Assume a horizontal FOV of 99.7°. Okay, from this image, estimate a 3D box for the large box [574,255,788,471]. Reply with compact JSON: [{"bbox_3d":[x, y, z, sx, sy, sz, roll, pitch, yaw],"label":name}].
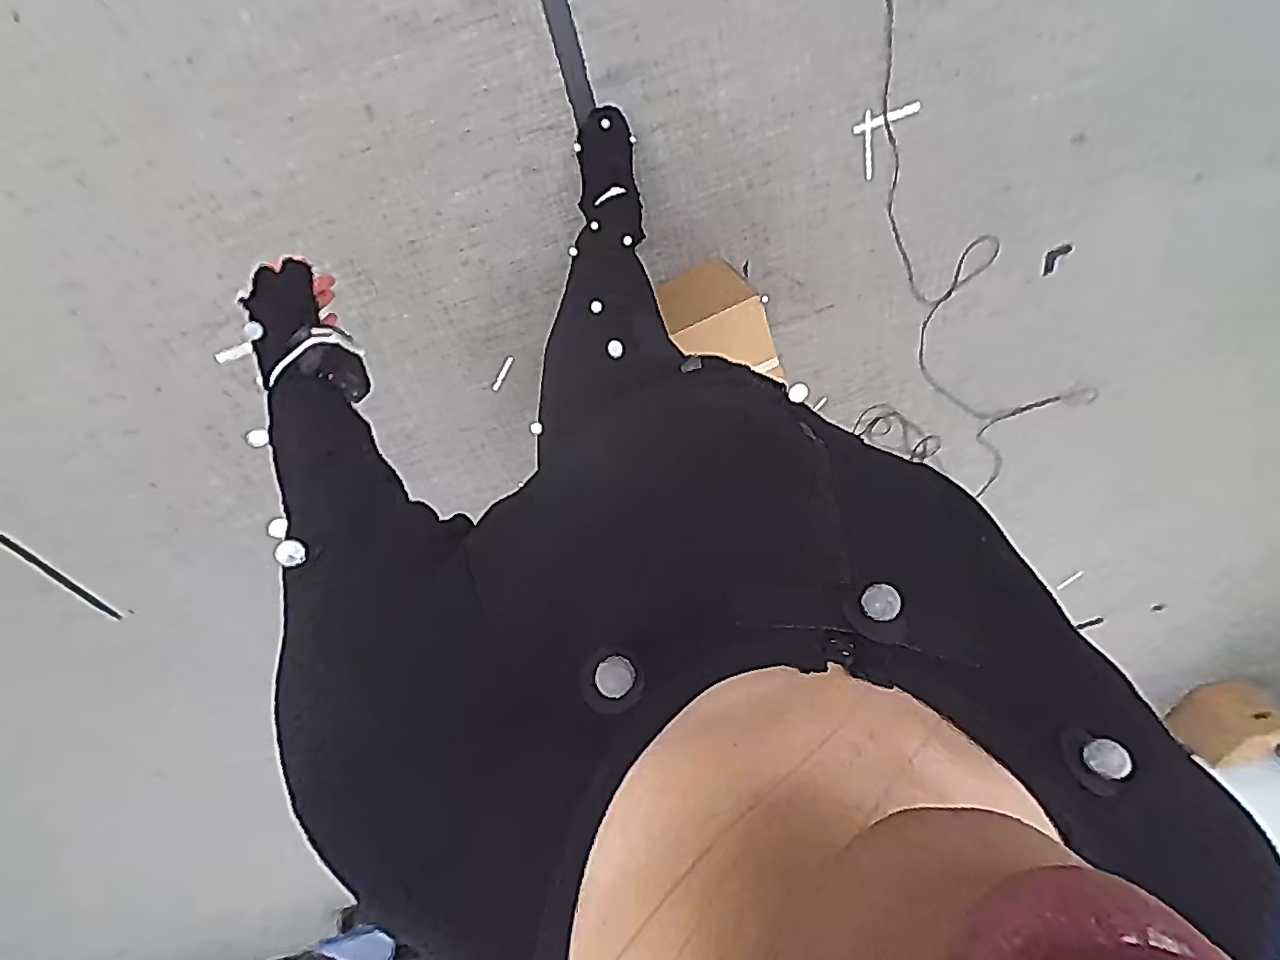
[{"bbox_3d":[0.088,-0.291,1.324,0.408,0.320,0.320,-24,126,6],"label":"large box"}]
